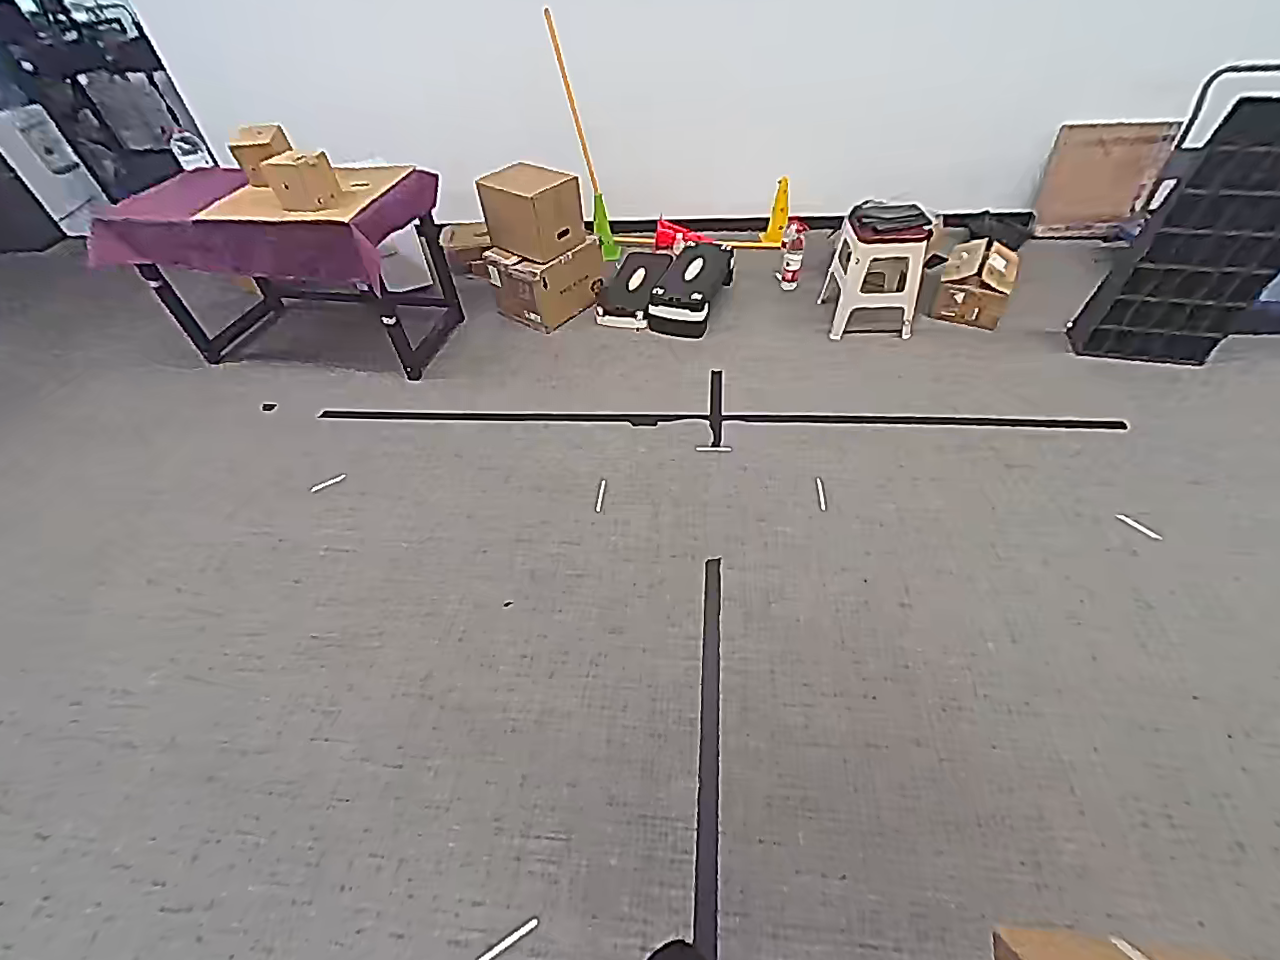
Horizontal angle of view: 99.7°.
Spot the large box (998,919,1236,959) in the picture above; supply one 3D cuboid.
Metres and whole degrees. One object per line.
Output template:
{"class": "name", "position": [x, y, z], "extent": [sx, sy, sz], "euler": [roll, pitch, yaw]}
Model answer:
{"class": "large box", "position": [0.623, 0.739, 0.533], "extent": [0.320, 0.408, 0.320], "euler": [2, 76, 9]}
